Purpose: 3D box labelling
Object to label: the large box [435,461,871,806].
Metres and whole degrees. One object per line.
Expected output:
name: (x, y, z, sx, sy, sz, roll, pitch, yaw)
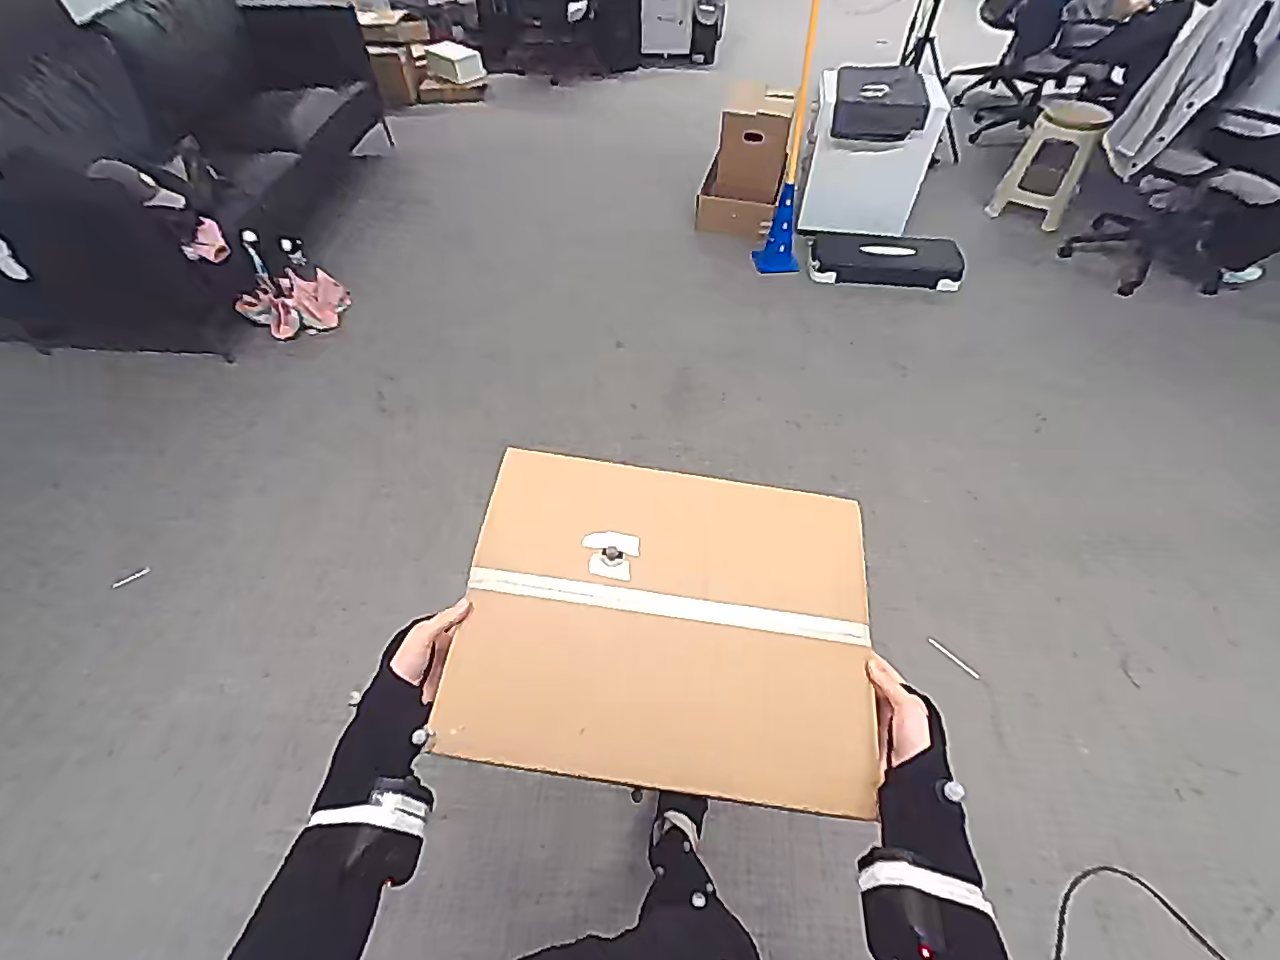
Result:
large box: (0.022, 0.204, 0.685, 0.408, 0.320, 0.320, 8, 60, 0)
